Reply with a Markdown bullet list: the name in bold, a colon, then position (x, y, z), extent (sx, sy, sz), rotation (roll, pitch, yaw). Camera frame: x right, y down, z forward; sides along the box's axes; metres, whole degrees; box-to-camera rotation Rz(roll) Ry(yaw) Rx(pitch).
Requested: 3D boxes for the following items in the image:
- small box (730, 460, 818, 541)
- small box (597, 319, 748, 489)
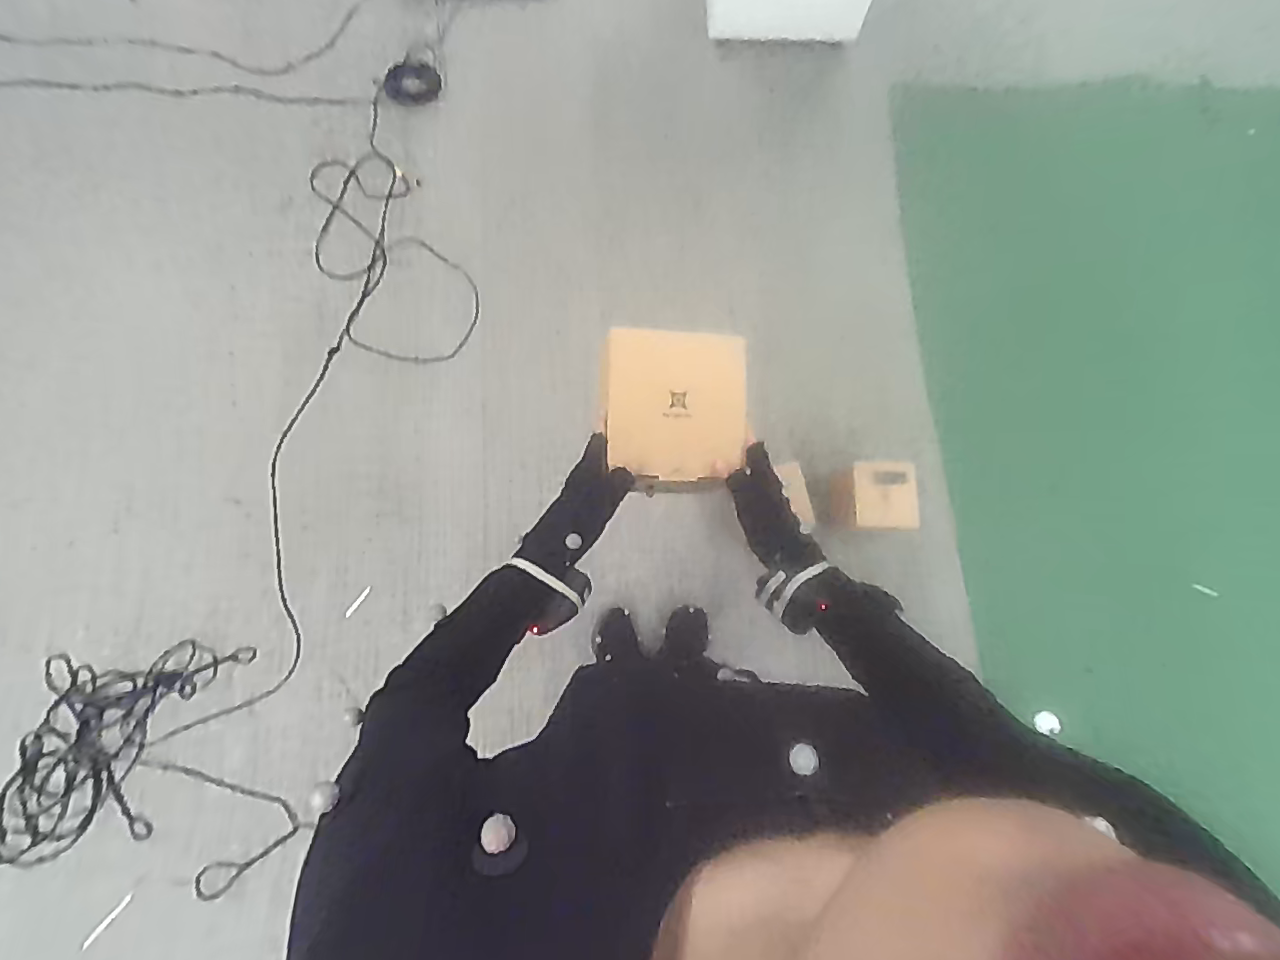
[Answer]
- **small box**: position (0.351, 0.061, 1.441), extent (0.168, 0.176, 0.179), rotation (-11, 78, -5)
- **small box**: position (0.032, -0.086, 0.693), extent (0.168, 0.176, 0.179), rotation (1, 84, -8)
